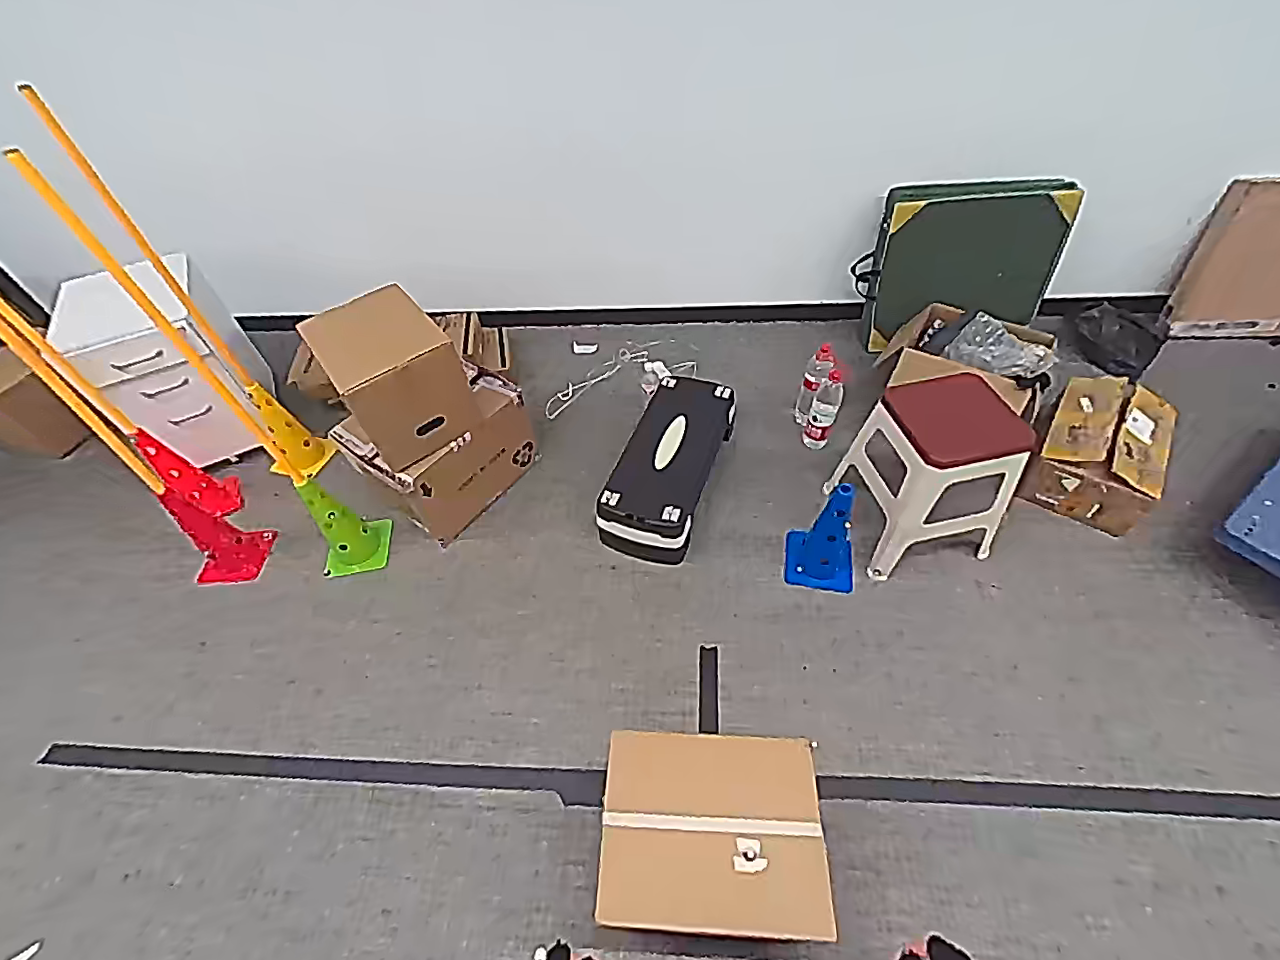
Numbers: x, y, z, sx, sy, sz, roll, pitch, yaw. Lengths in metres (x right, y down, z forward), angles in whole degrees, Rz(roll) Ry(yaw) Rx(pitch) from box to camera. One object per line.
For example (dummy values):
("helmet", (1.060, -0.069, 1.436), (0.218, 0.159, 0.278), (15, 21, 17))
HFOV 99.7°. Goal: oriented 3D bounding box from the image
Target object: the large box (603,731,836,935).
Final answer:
("large box", (0.142, 0.733, 1.119), (0.408, 0.320, 0.320), (1, 51, 4))
